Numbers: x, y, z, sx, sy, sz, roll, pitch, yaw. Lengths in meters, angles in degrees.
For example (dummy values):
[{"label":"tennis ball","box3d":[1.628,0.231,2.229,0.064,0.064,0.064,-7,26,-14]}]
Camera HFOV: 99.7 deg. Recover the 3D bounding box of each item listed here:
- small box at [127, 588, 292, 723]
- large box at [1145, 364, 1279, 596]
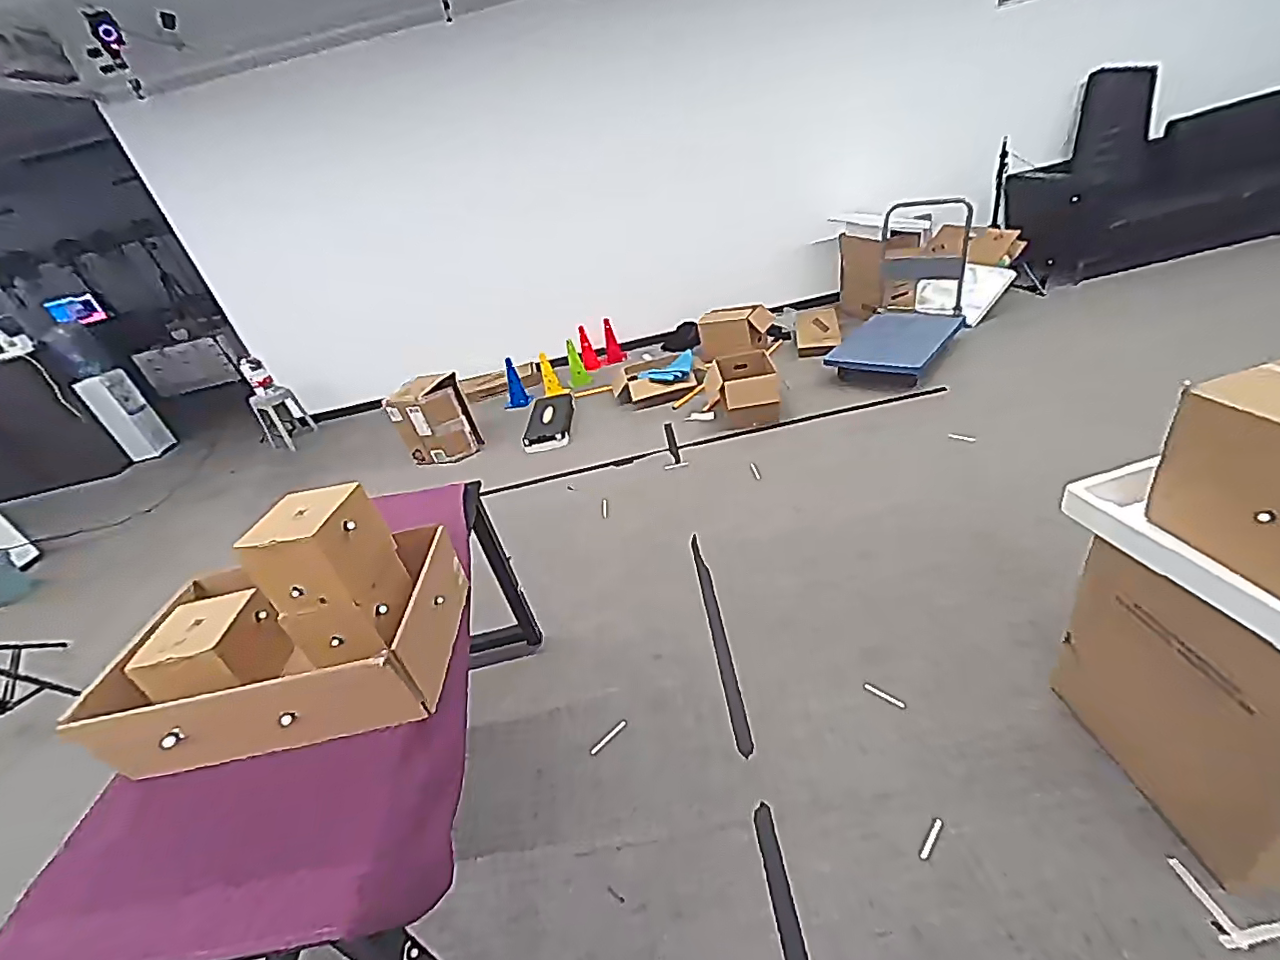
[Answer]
[{"label":"small box","box3d":[-0.844,0.351,1.088,0.168,0.176,0.179,-13,31,-1]},{"label":"large box","box3d":[1.228,0.018,0.927,0.320,0.320,0.408,-14,30,-2]}]
